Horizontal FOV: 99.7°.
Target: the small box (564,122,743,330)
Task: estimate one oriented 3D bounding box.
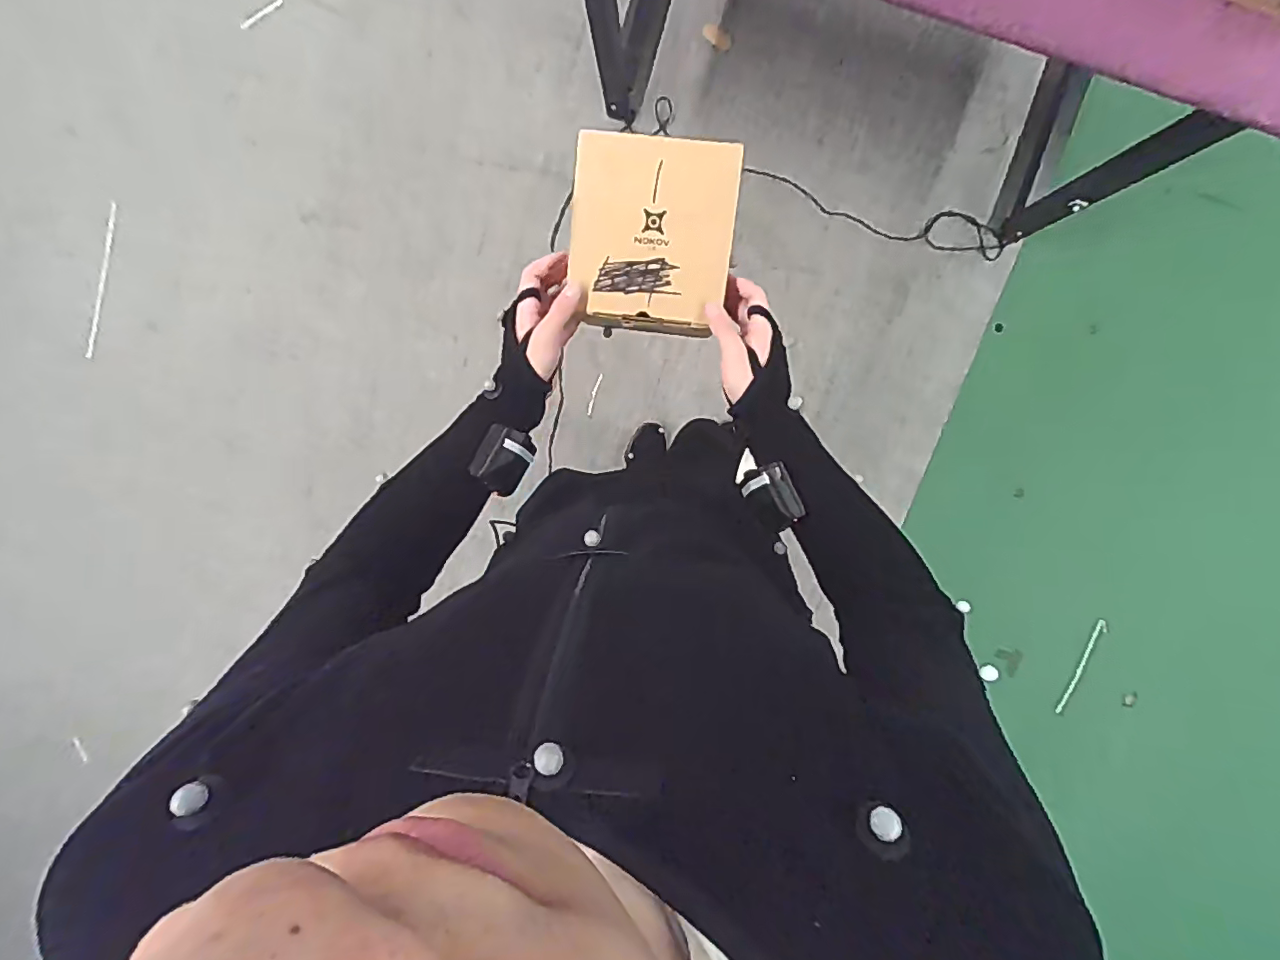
[{"bbox_3d":[0.015,-0.272,0.621,0.168,0.176,0.179,7,101,1],"label":"small box"}]
